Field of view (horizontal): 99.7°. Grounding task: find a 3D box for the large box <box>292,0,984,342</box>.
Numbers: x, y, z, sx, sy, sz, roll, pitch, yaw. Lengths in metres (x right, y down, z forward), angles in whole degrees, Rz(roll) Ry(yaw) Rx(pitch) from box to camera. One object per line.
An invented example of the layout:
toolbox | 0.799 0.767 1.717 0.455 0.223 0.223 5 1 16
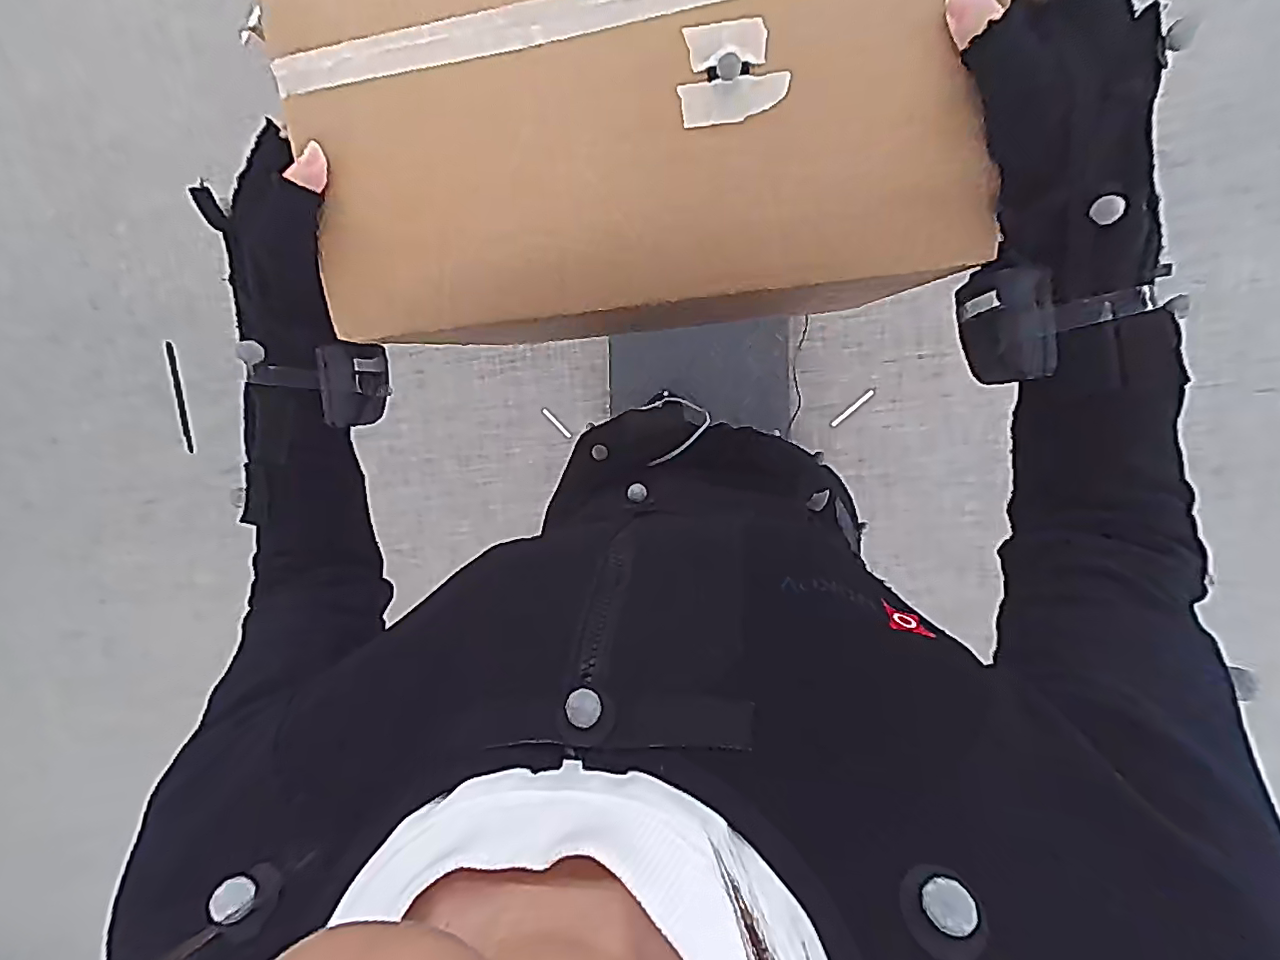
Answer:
large box | 0.004 -0.300 0.454 0.408 0.320 0.320 -4 103 9
